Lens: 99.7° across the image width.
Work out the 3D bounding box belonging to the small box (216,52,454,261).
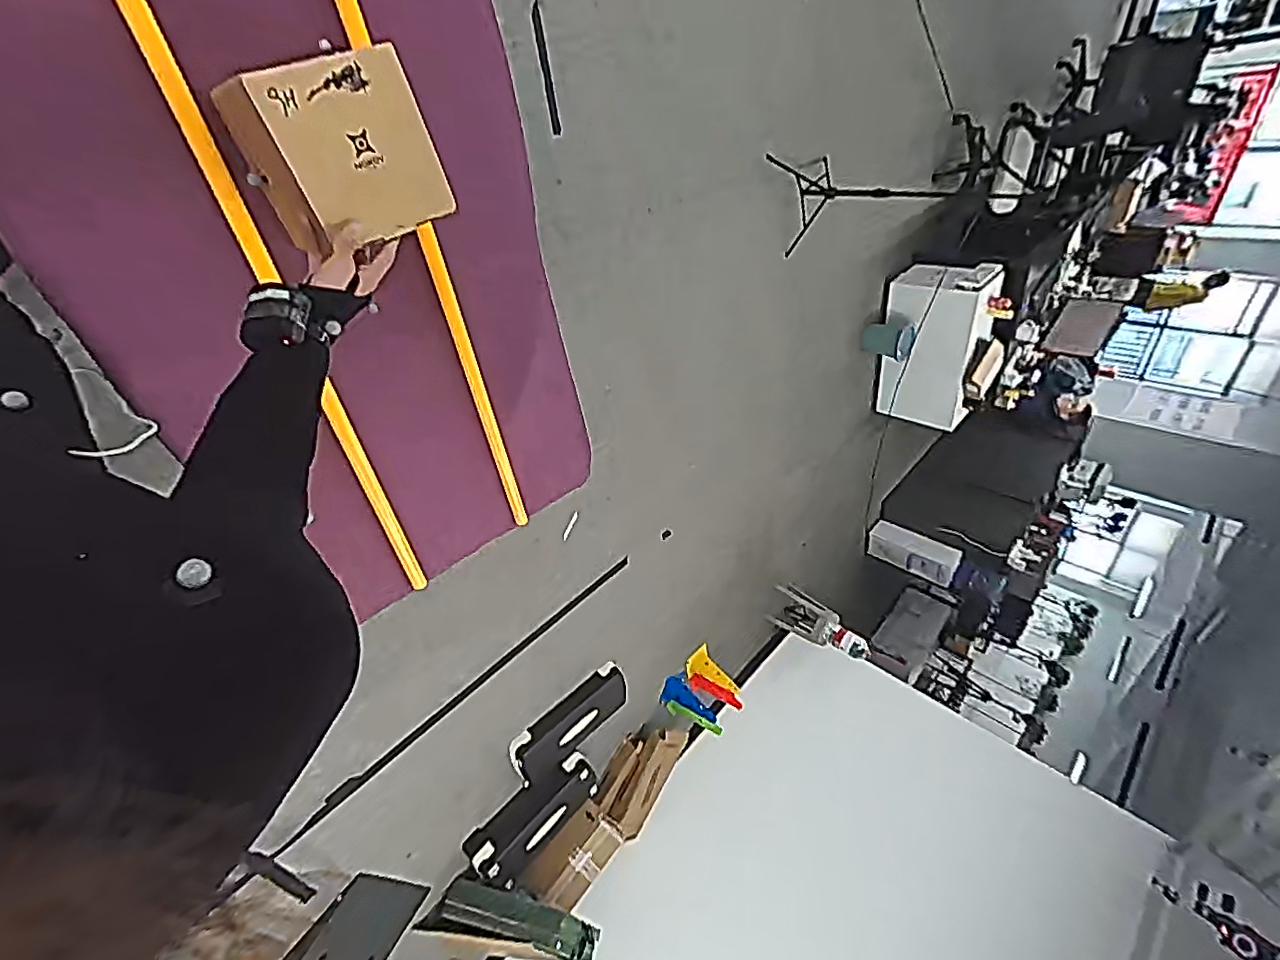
[{"bbox_3d":[-0.366,-0.391,0.660,0.168,0.176,0.179,-39,135,-27],"label":"small box"}]
